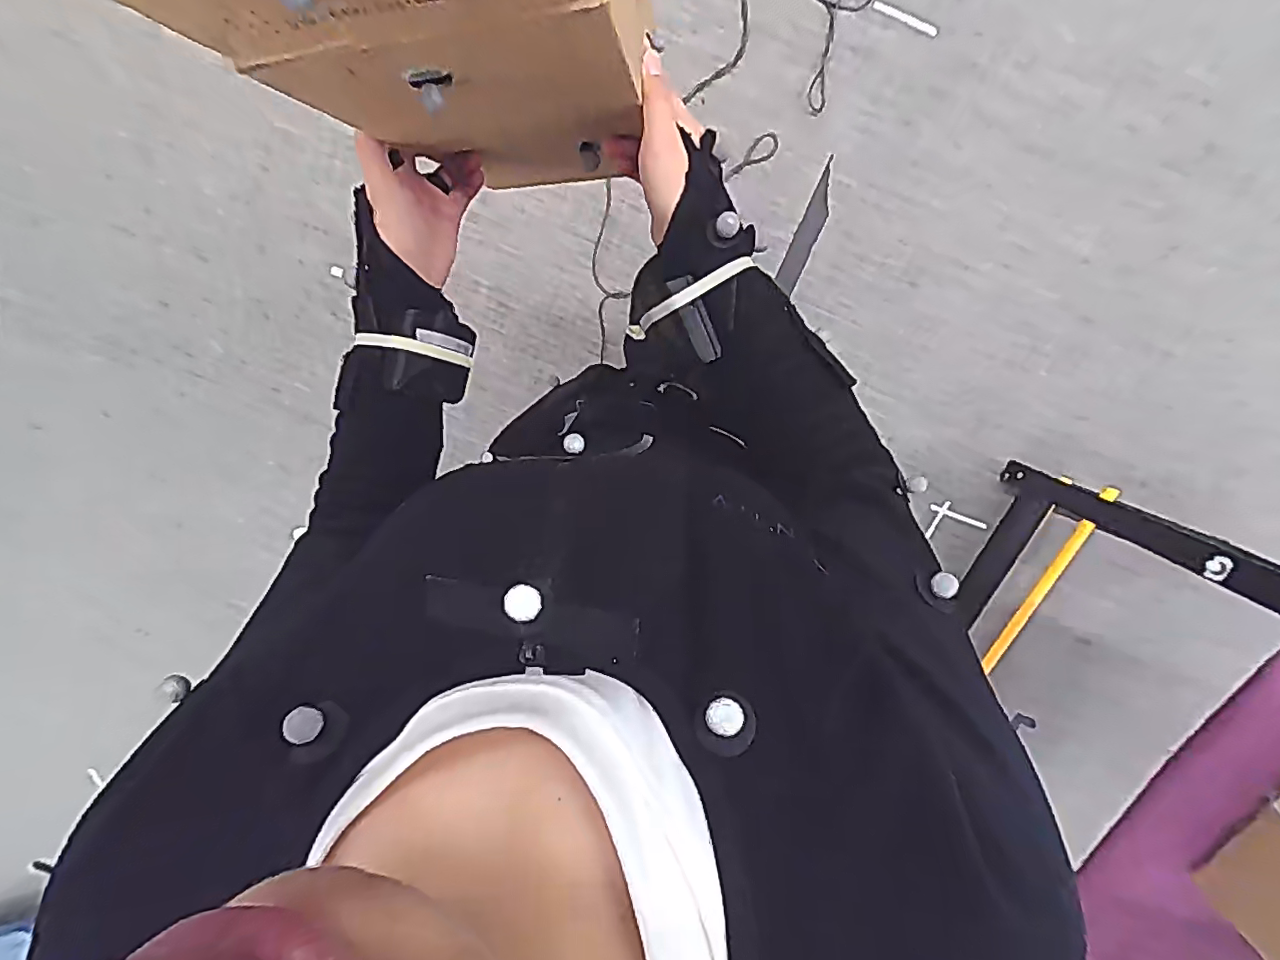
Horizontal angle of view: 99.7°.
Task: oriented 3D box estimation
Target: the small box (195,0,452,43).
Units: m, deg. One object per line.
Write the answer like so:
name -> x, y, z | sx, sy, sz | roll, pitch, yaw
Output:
small box -> -0.117, -0.247, 0.119 | 0.168, 0.176, 0.179 | -4, 109, 9

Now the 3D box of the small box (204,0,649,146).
small box -> -0.096, -0.290, 0.274 | 0.179, 0.176, 0.168 | -3, 109, 8
